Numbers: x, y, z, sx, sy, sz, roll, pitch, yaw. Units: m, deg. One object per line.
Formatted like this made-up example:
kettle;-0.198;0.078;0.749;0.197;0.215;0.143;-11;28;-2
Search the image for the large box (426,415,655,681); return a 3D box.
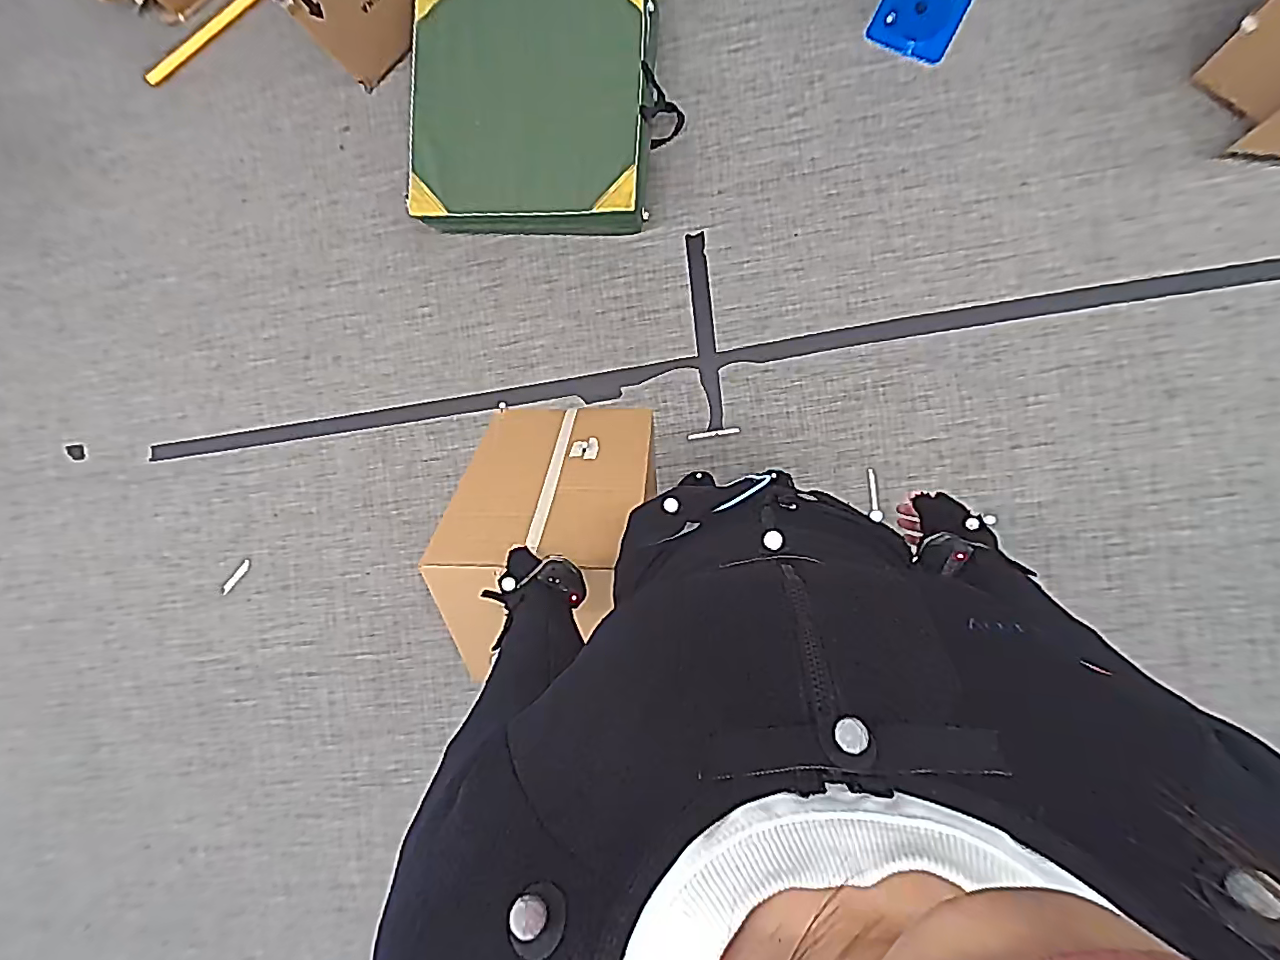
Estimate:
large box;-0.141;0.117;1.015;0.320;0.408;0.320;1;129;6
